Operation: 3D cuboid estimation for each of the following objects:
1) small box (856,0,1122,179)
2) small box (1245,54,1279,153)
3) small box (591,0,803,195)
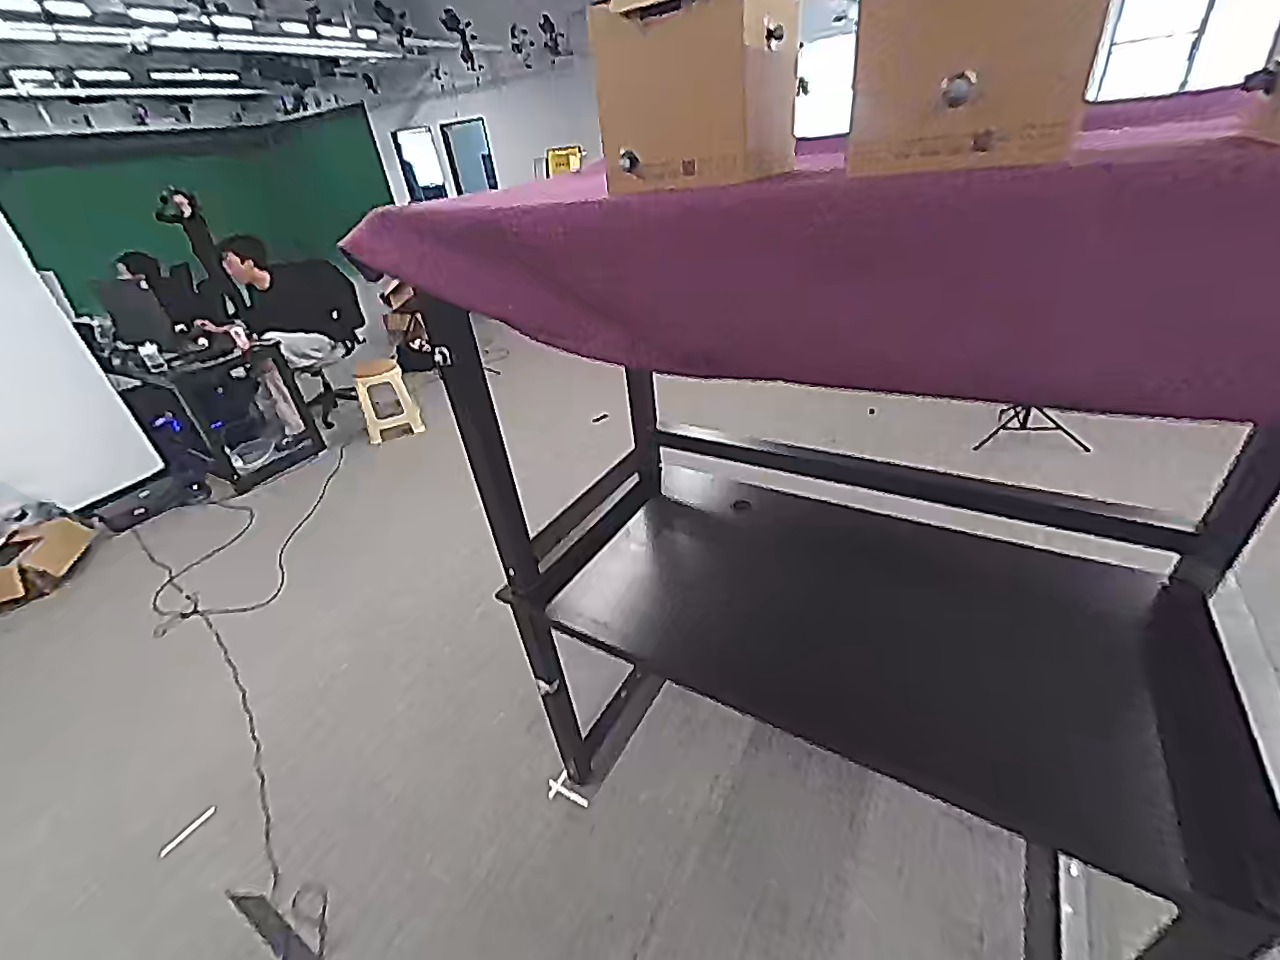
[{"bbox_3d":[0.290,-0.360,0.460,0.168,0.176,0.179,12,36,28],"label":"small box"},{"bbox_3d":[0.520,-0.296,0.311,0.179,0.176,0.168,14,36,32],"label":"small box"},{"bbox_3d":[0.071,-0.413,0.590,0.168,0.176,0.179,12,35,28],"label":"small box"}]
